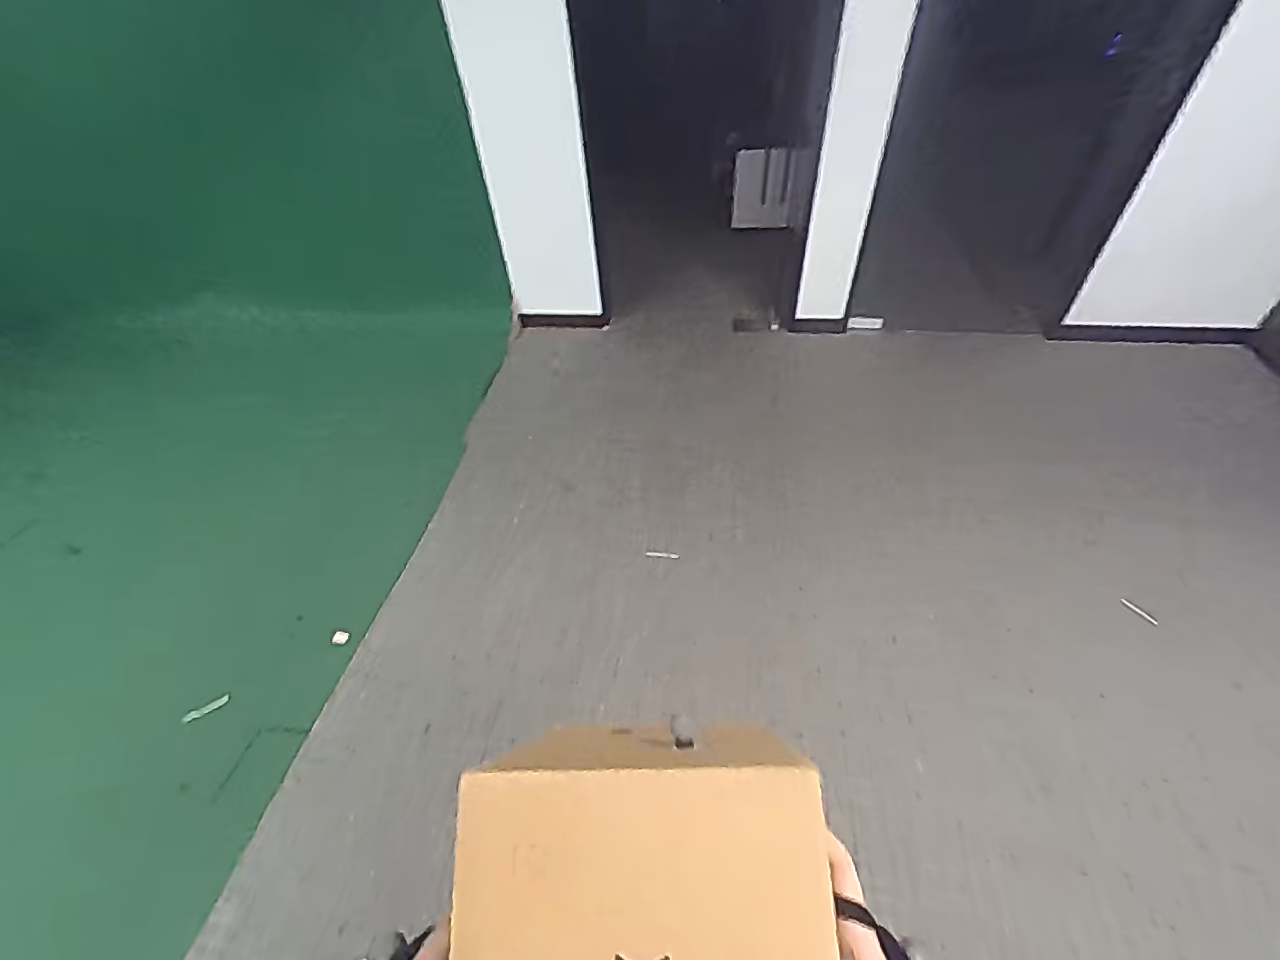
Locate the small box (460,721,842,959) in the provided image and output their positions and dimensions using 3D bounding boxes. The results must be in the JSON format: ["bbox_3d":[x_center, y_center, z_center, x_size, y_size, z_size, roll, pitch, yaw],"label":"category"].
[{"bbox_3d":[0.007,0.240,0.303,0.168,0.176,0.179,-3,75,3],"label":"small box"}]
